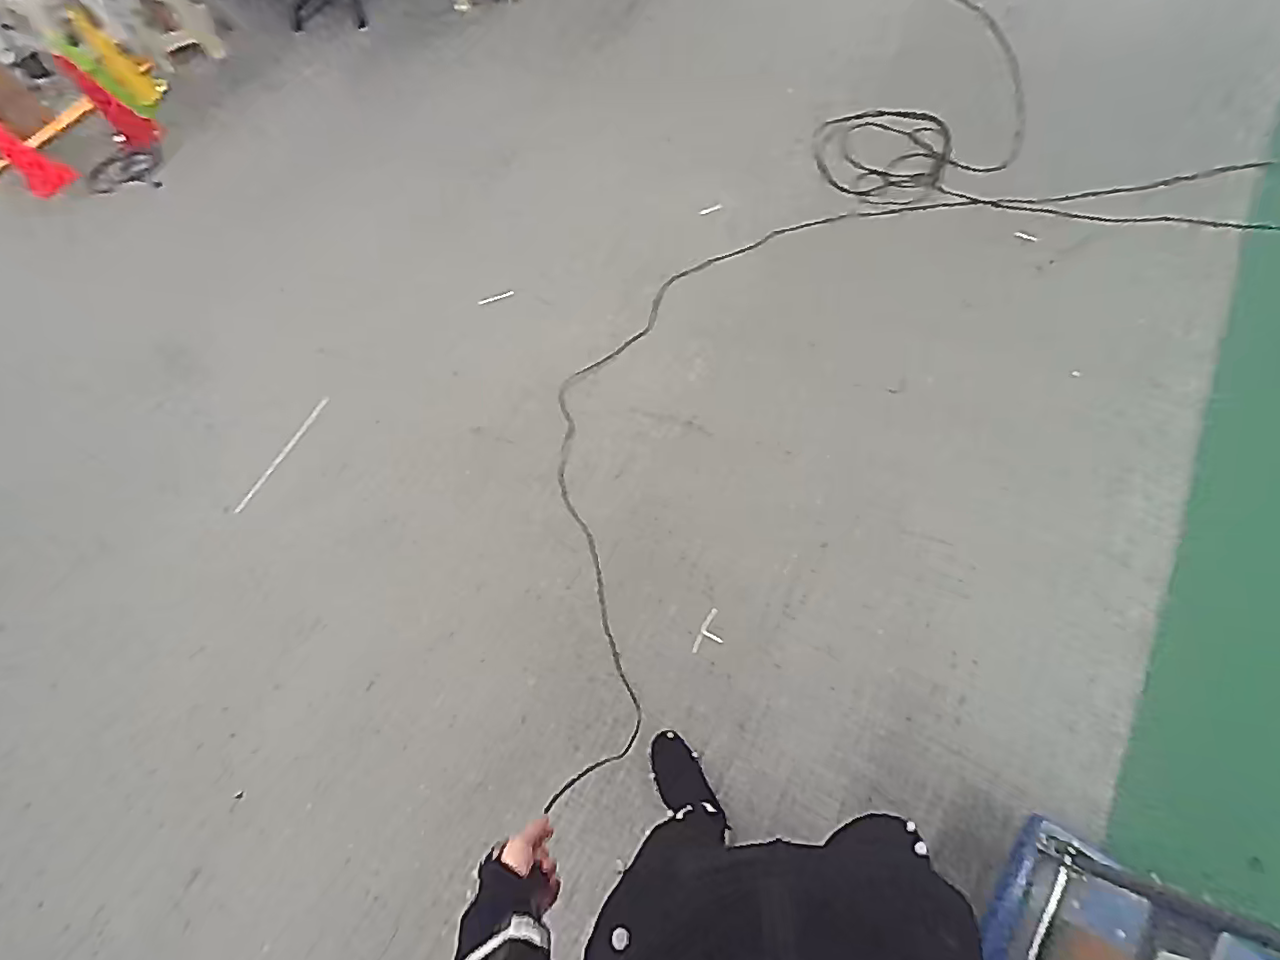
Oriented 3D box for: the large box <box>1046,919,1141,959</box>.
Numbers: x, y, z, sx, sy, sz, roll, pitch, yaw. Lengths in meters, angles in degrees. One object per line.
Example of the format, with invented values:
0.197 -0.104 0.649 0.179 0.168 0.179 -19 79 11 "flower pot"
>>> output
0.883 0.997 0.815 0.408 0.320 0.320 31 75 17 "large box"
